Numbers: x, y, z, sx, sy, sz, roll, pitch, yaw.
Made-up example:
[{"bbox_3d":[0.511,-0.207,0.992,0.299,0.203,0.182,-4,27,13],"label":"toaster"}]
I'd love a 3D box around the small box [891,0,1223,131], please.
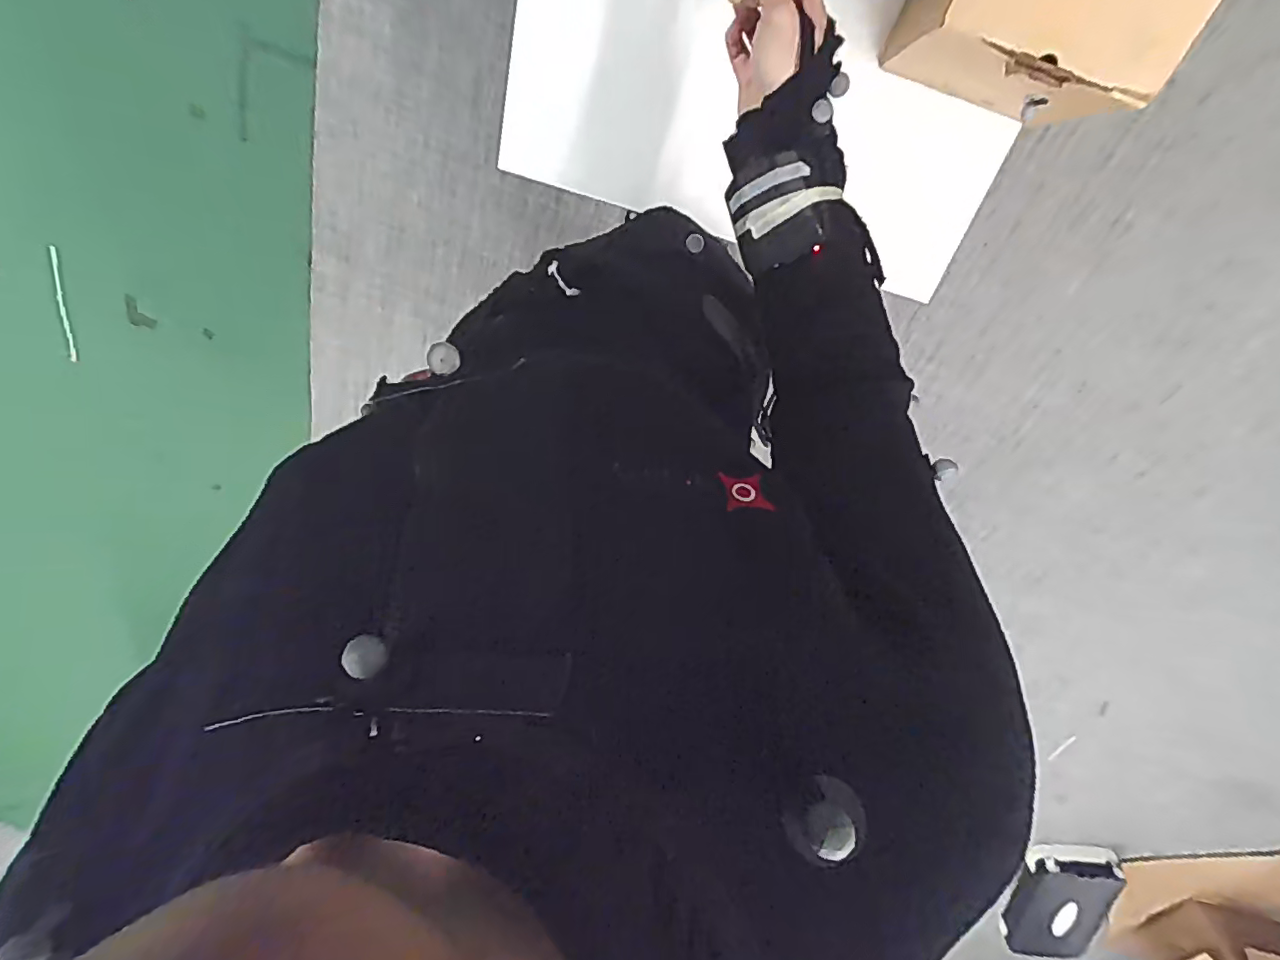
[{"bbox_3d":[0.321,-0.393,0.414,0.168,0.176,0.179,18,119,-3],"label":"small box"}]
